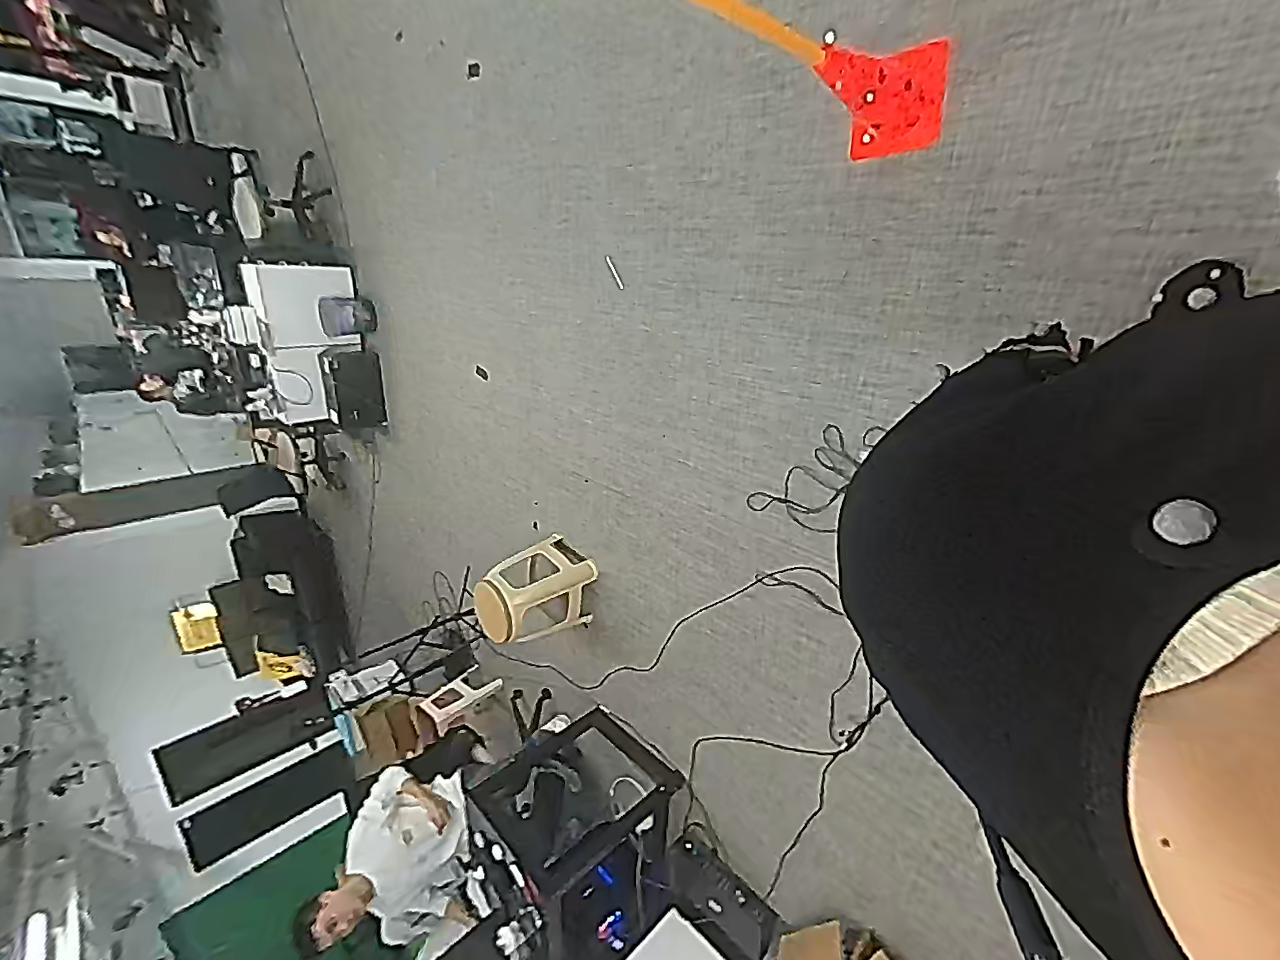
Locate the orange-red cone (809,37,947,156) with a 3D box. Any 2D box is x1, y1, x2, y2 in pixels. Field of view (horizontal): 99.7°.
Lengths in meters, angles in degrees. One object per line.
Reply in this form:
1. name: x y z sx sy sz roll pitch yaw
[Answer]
1. orange-red cone: 0.444 -0.803 1.084 0.199 0.360 0.198 16 115 42
